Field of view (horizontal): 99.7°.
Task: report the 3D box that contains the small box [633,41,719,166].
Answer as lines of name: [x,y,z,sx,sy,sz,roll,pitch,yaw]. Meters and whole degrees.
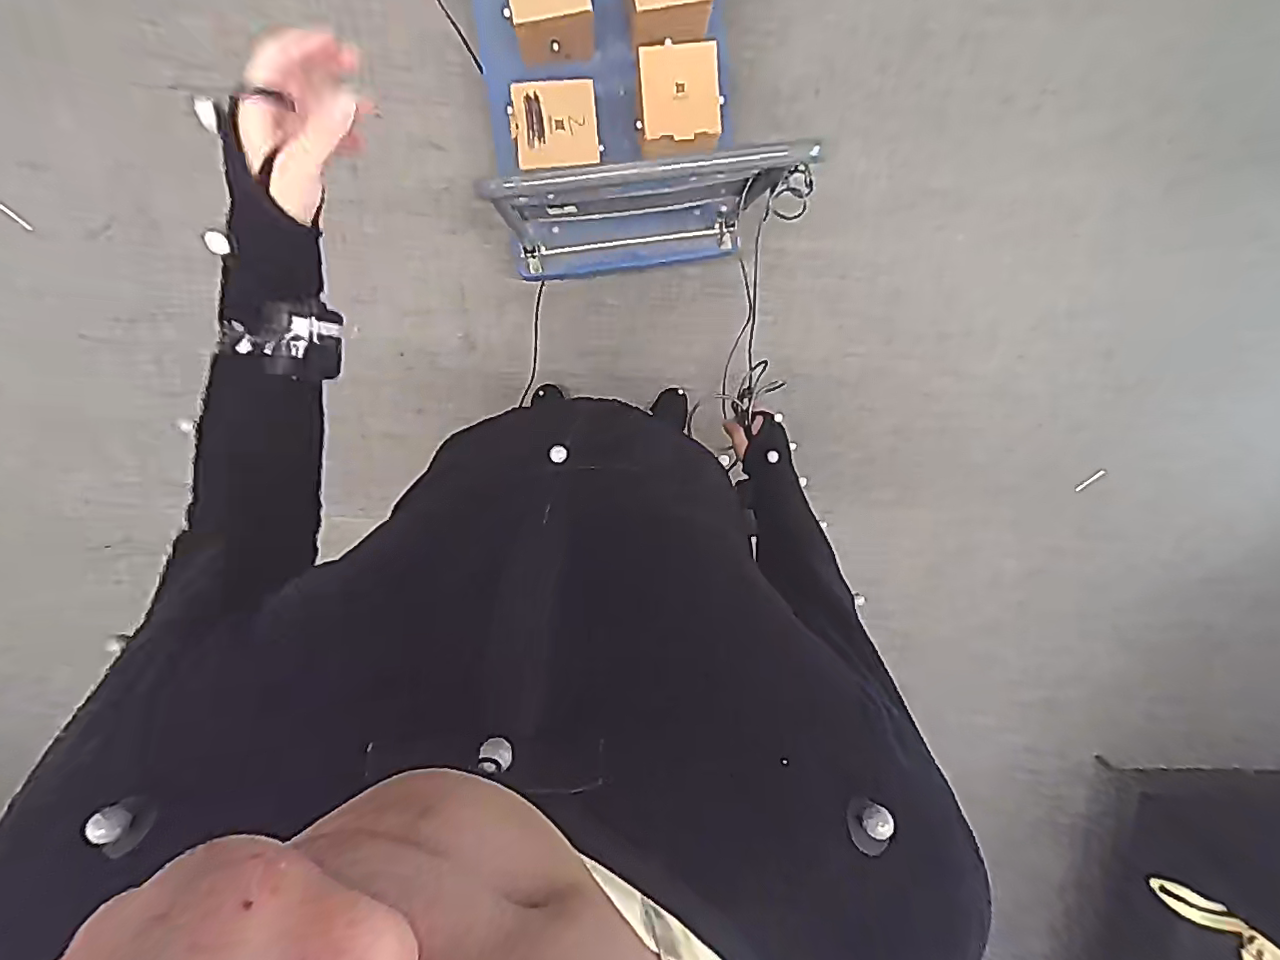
small box: [0.076,-0.837,1.216,0.168,0.176,0.179,-6,102,-1]

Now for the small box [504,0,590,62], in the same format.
small box: [-0.205,-1.040,1.163,0.168,0.176,0.179,-11,101,-1]

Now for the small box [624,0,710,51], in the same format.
small box: [0.050,-1.073,1.167,0.168,0.176,0.179,-9,102,0]
